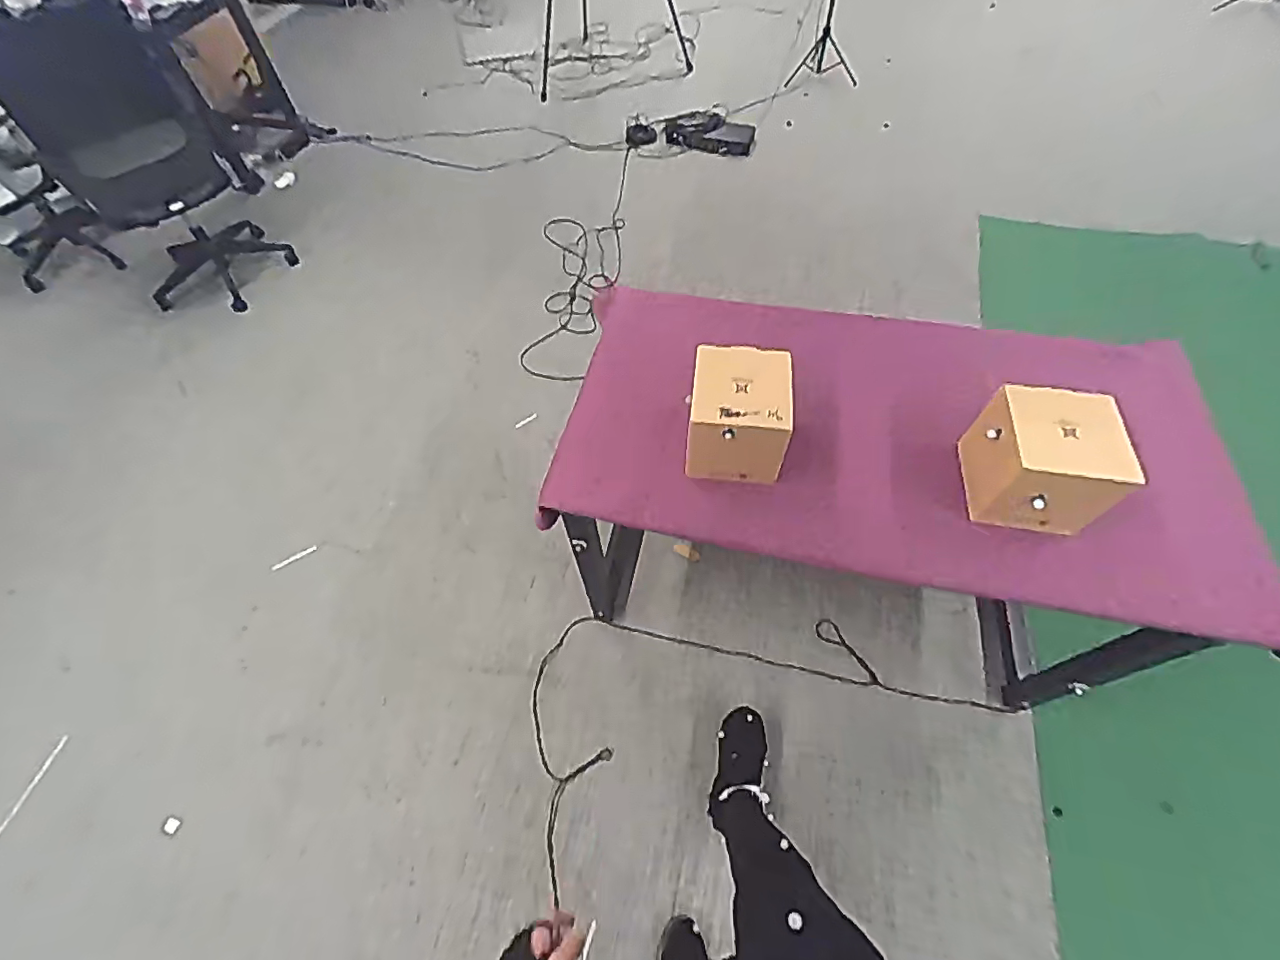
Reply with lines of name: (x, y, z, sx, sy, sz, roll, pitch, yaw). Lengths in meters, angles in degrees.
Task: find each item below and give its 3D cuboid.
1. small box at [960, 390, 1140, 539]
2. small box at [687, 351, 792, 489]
small box: (0.659, -0.021, 0.895, 0.168, 0.176, 0.179, 8, 56, 9)
small box: (0.175, -0.107, 0.975, 0.168, 0.176, 0.179, 5, 57, 7)
